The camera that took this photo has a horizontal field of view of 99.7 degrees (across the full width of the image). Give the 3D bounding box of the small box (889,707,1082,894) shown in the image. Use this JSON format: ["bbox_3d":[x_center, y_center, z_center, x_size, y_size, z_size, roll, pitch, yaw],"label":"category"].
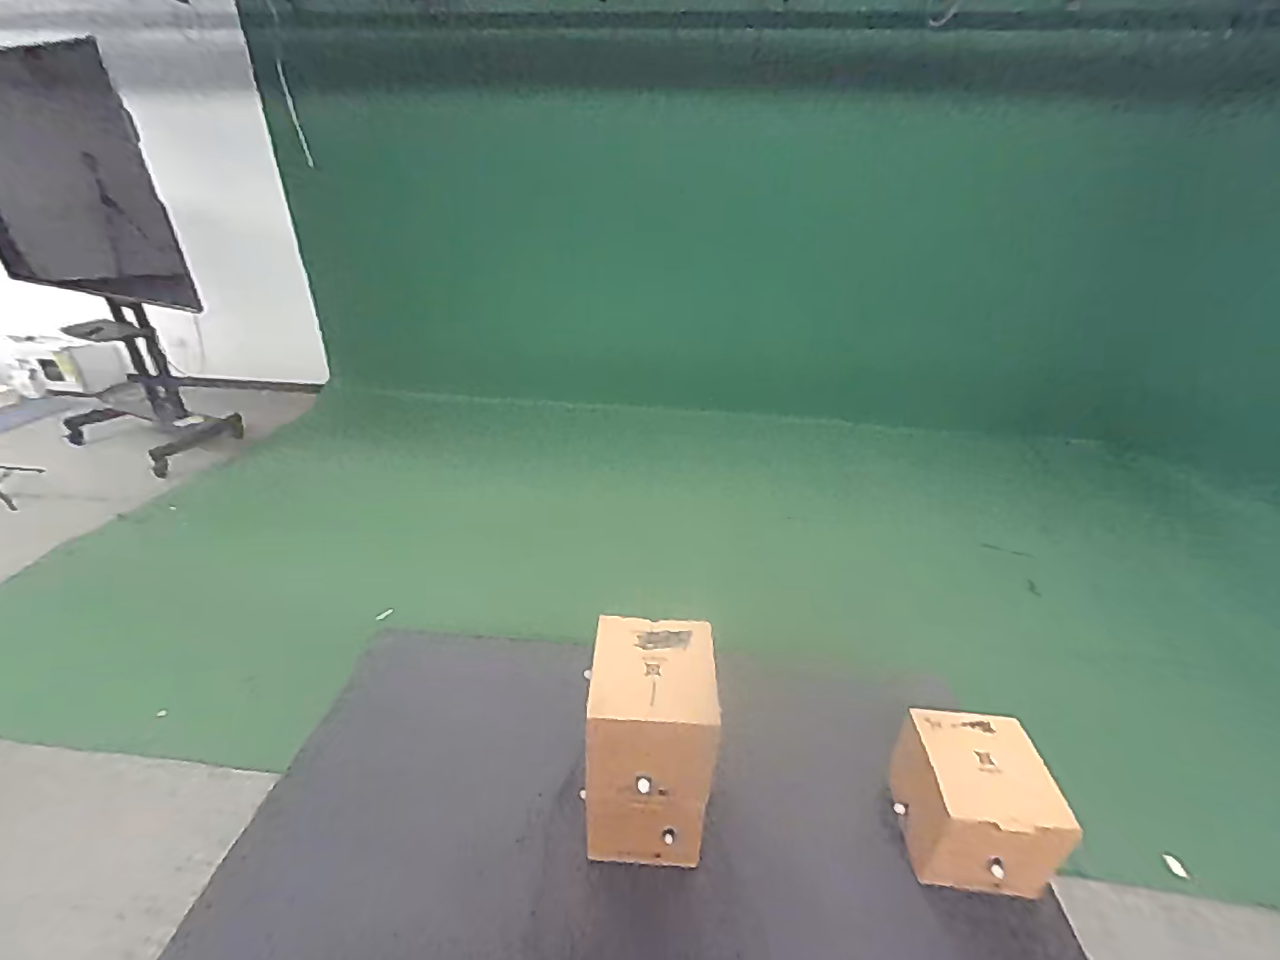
[{"bbox_3d":[0.493,0.474,0.804,0.168,0.176,0.179,4,30,5],"label":"small box"}]

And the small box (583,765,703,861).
[{"bbox_3d":[0.007,0.448,0.830,0.168,0.176,0.179,4,28,2],"label":"small box"}]

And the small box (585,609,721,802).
[{"bbox_3d":[0.015,0.306,0.748,0.168,0.176,0.179,3,30,1],"label":"small box"}]
